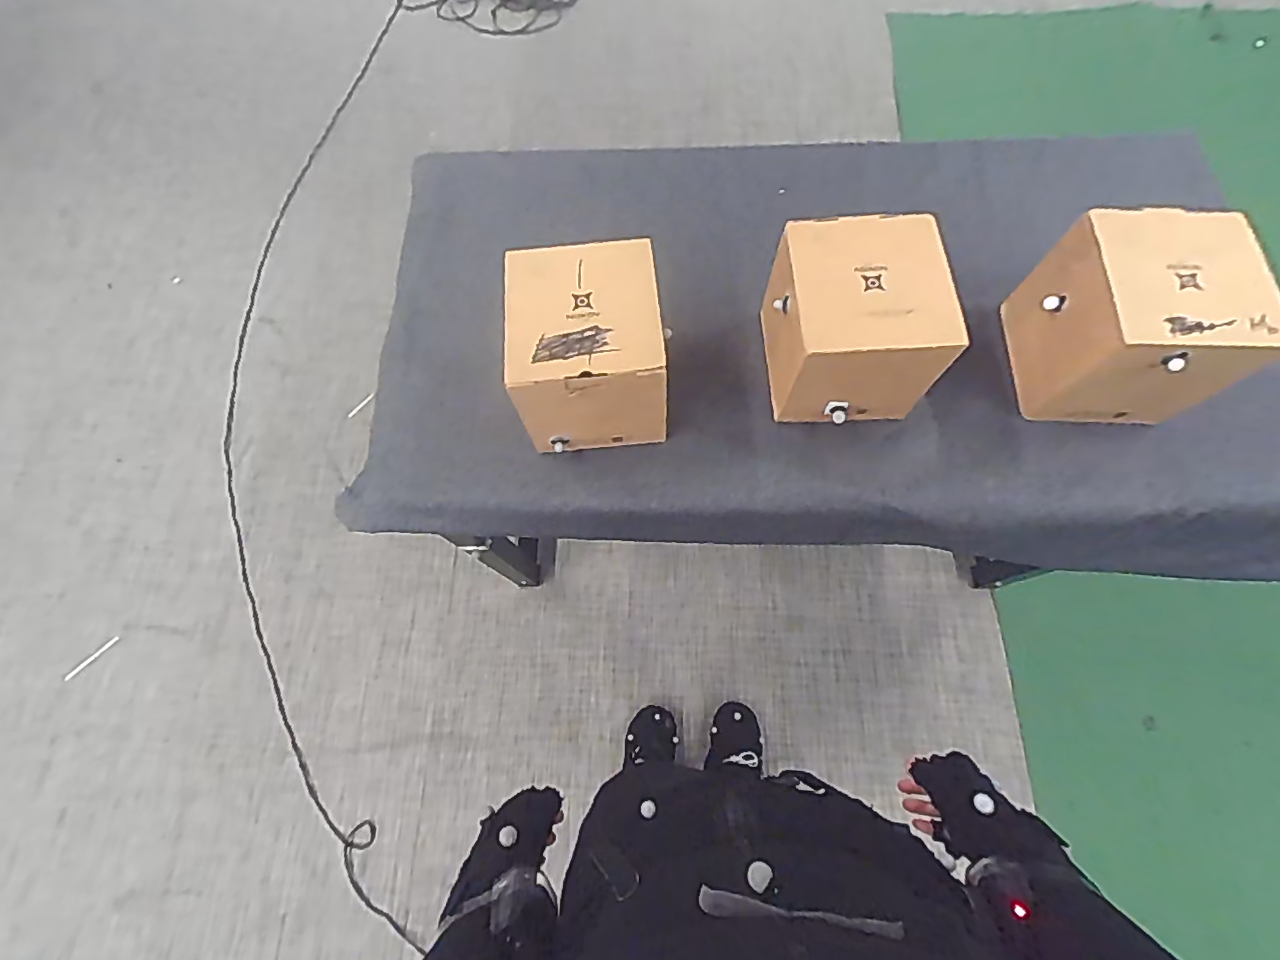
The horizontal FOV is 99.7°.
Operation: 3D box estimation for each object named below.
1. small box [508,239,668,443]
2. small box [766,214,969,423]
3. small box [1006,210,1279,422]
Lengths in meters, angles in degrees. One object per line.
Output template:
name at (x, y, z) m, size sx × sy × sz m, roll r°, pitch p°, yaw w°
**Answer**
small box at (-0.055, -0.154, 0.651) m, size 0.168 × 0.176 × 0.179 m, roll -5°, pitch 68°, yaw 0°
small box at (0.254, -0.186, 0.654) m, size 0.168 × 0.176 × 0.179 m, roll -3°, pitch 71°, yaw 3°
small box at (0.569, -0.186, 0.637) m, size 0.168 × 0.176 × 0.179 m, roll 2°, pitch 69°, yaw 4°
